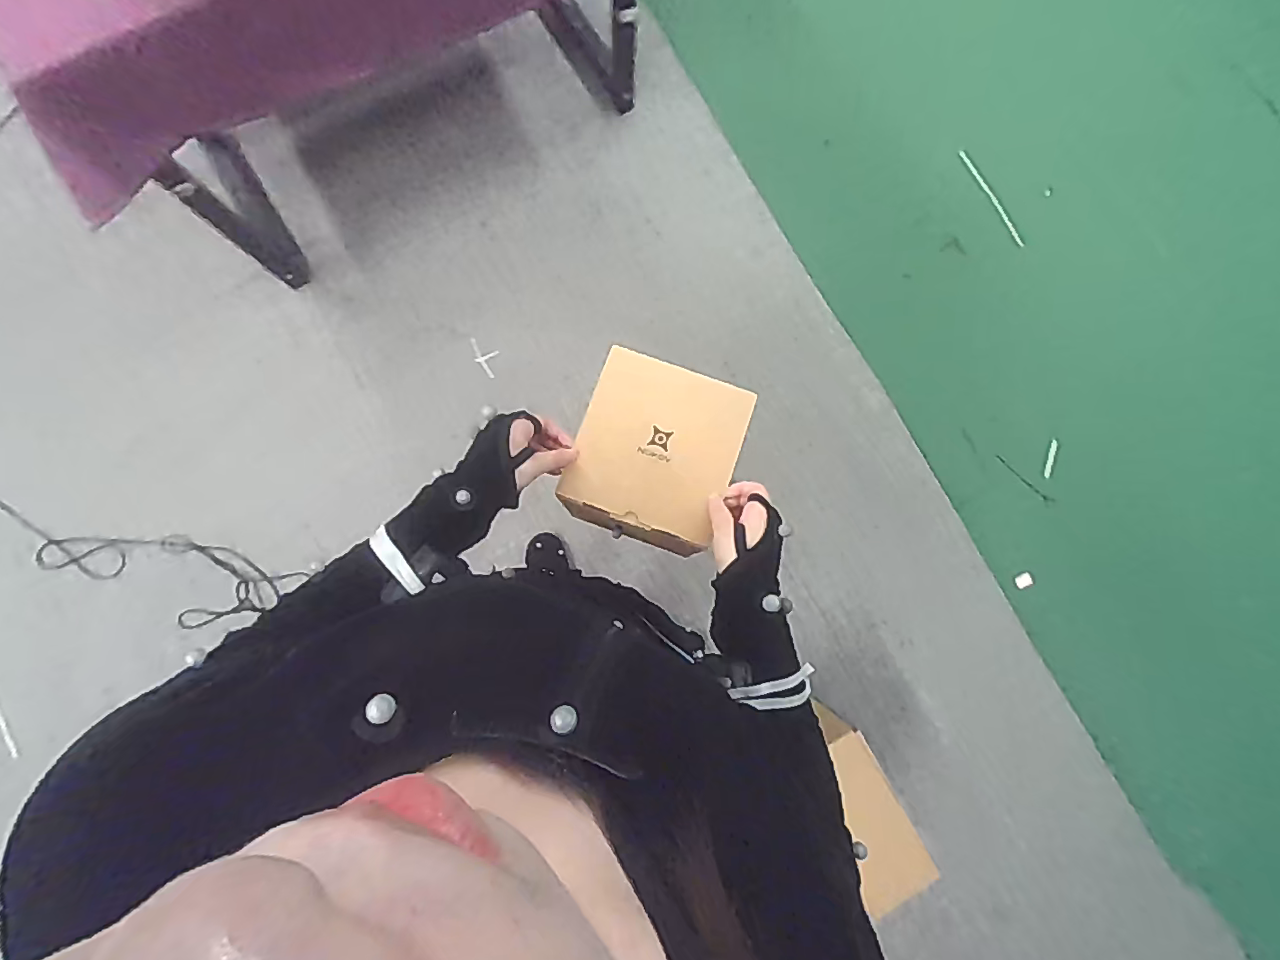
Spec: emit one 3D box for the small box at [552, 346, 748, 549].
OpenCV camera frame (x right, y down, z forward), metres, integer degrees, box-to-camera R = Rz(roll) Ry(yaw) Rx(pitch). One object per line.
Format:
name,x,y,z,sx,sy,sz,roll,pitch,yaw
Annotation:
small box,0.010,-0.026,0.639,0.168,0.176,0.179,18,81,2
